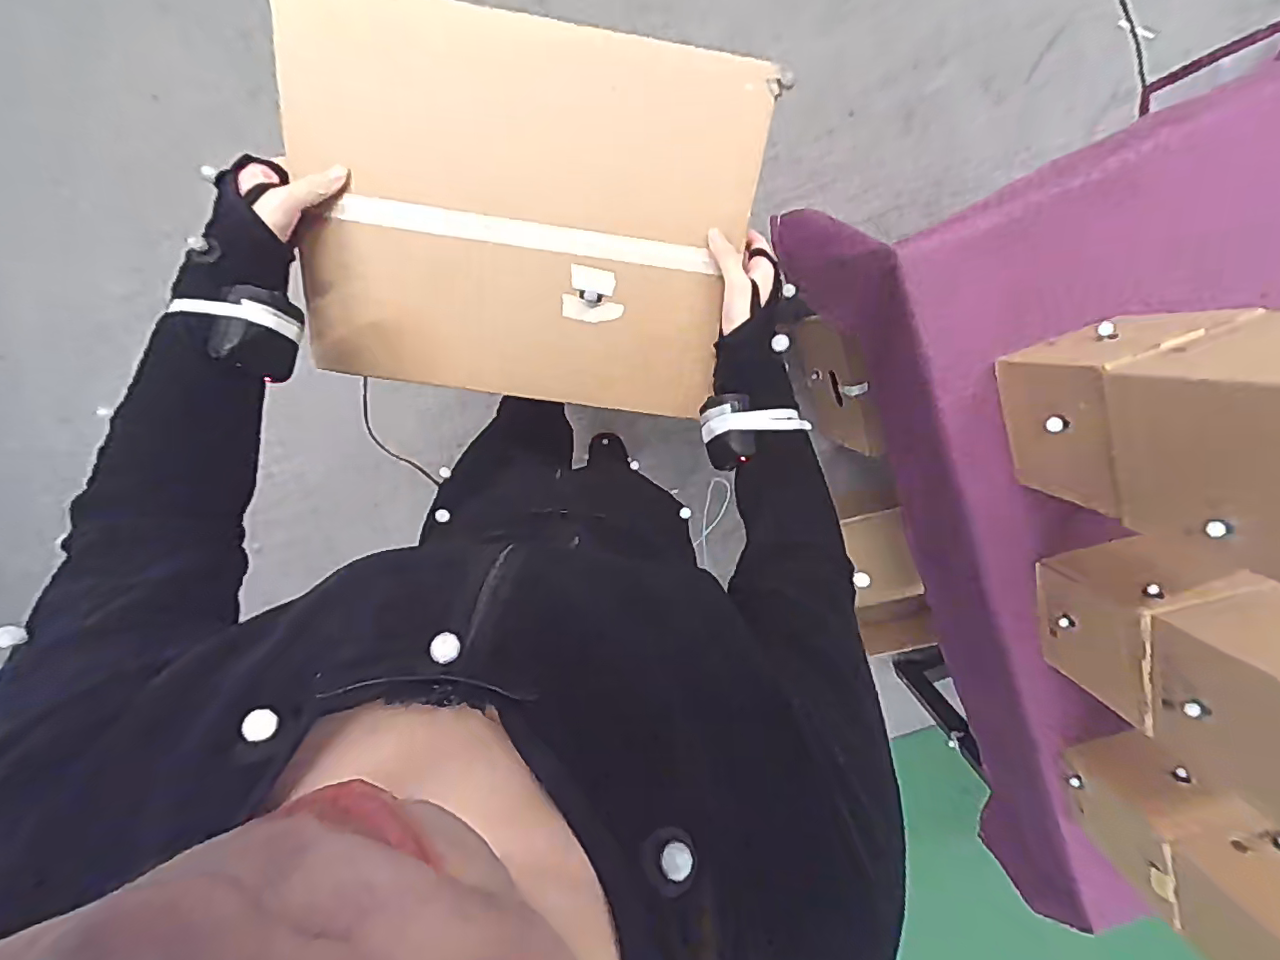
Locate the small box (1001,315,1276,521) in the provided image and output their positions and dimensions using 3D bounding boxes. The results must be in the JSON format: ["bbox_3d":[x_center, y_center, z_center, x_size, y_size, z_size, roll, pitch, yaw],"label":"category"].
[{"bbox_3d":[0.561,-0.077,0.631,0.168,0.176,0.179,-19,103,4],"label":"small box"}]

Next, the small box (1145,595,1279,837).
[{"bbox_3d":[0.675,0.233,0.546,0.179,0.176,0.168,-13,104,3],"label":"small box"}]

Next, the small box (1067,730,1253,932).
[{"bbox_3d":[0.762,0.489,0.782,0.179,0.176,0.168,-19,104,3],"label":"small box"}]

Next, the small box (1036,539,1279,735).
[{"bbox_3d":[0.665,0.192,0.705,0.179,0.176,0.168,-14,104,3],"label":"small box"}]

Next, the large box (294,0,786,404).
[{"bbox_3d":[-0.100,-0.302,0.629,0.408,0.320,0.320,7,116,-5],"label":"large box"}]

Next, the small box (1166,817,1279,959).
[{"bbox_3d":[0.769,0.532,0.625,0.168,0.176,0.179,-18,104,2],"label":"small box"}]
